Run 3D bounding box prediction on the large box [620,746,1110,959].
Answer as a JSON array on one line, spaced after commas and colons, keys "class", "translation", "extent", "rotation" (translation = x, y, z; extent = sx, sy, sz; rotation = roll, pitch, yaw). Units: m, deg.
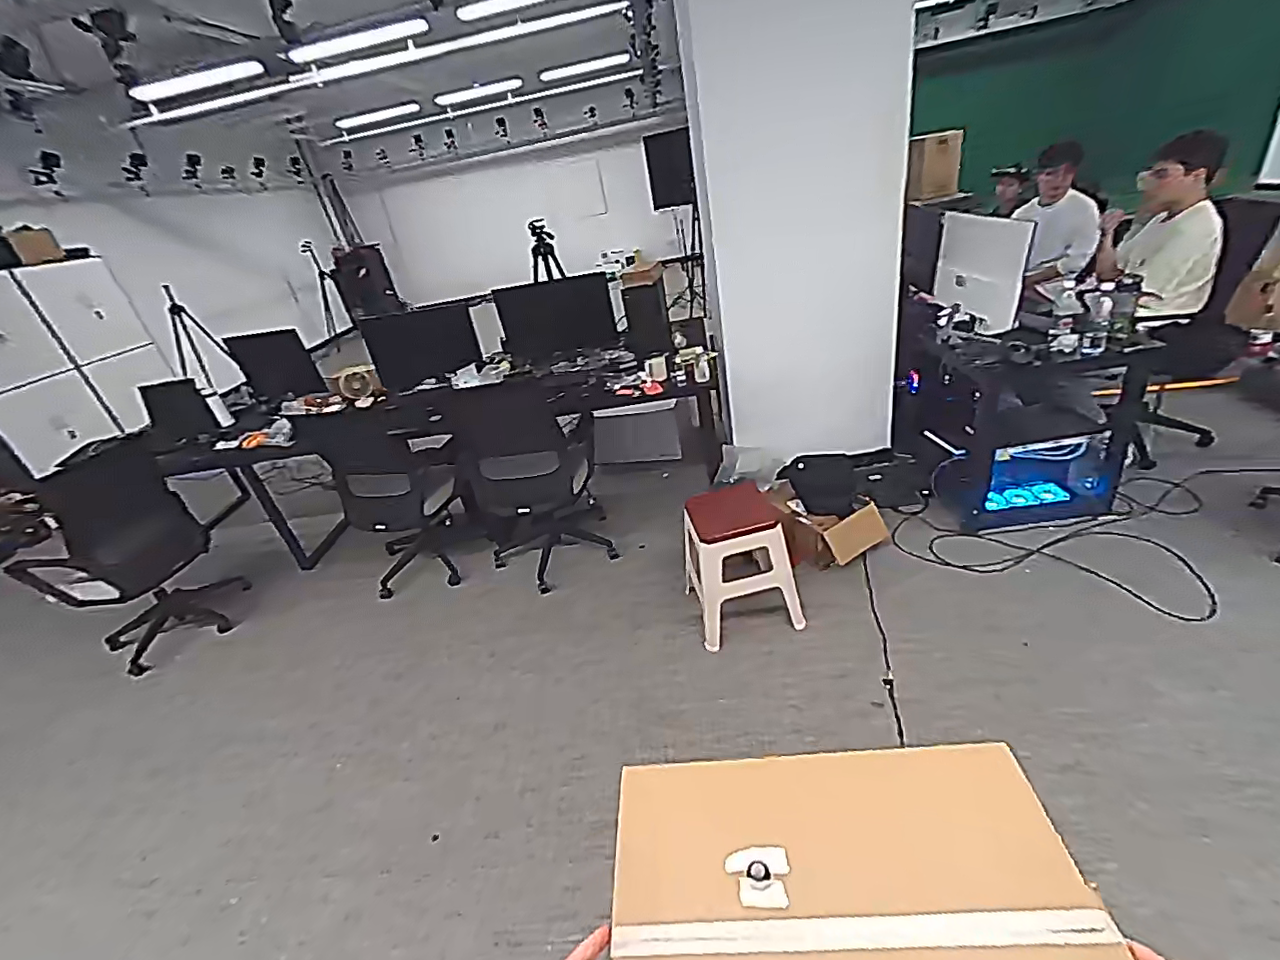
[{"class": "large box", "translation": [0.205, 0.515, 0.544], "extent": [0.408, 0.320, 0.320], "rotation": [-8, 32, 7]}]
